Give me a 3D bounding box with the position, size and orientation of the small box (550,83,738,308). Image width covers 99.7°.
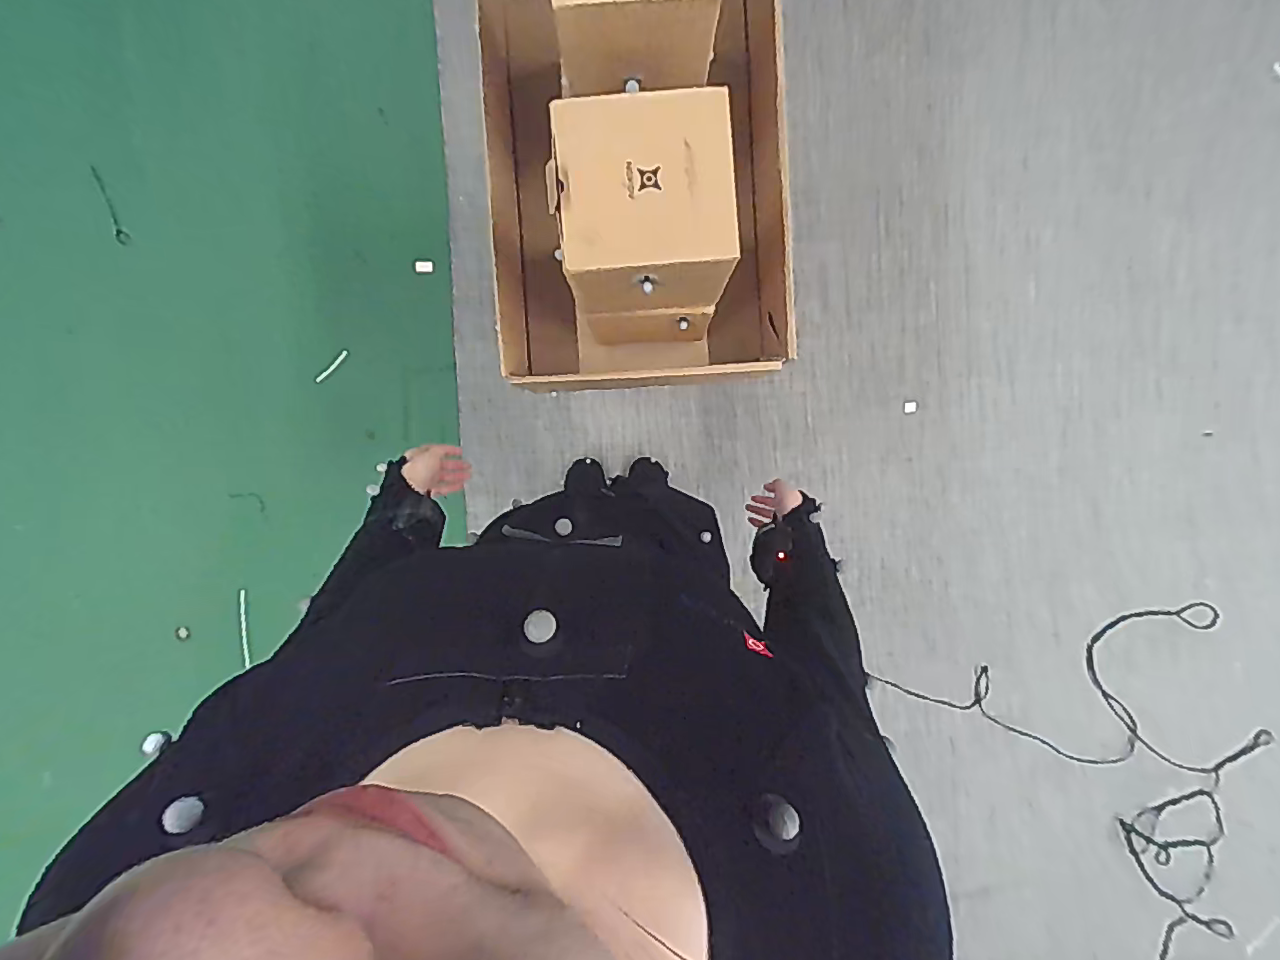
[{"bbox_3d":[0.005,-0.299,0.605,0.179,0.176,0.168,-5,93,-1],"label":"small box"}]

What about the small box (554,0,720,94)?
[{"bbox_3d":[-0.007,-0.551,0.586,0.168,0.176,0.179,-3,96,0],"label":"small box"}]
